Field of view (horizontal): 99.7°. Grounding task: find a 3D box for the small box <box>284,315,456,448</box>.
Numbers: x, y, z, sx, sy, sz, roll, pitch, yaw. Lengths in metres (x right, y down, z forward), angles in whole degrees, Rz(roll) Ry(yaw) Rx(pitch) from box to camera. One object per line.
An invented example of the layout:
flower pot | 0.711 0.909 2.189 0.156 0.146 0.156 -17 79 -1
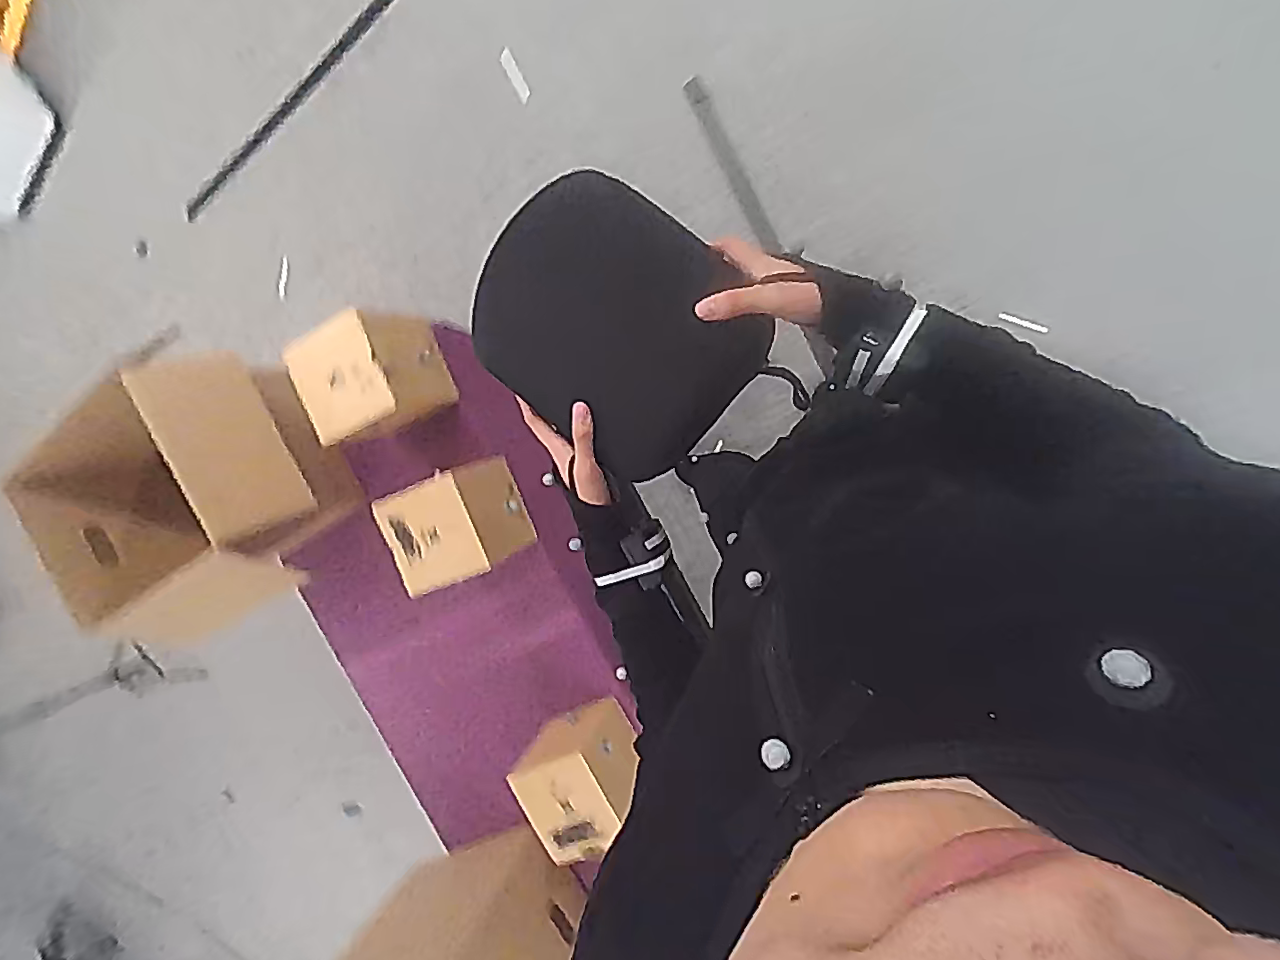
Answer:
small box | -0.462 -0.170 0.946 0.179 0.176 0.168 -21 96 21
